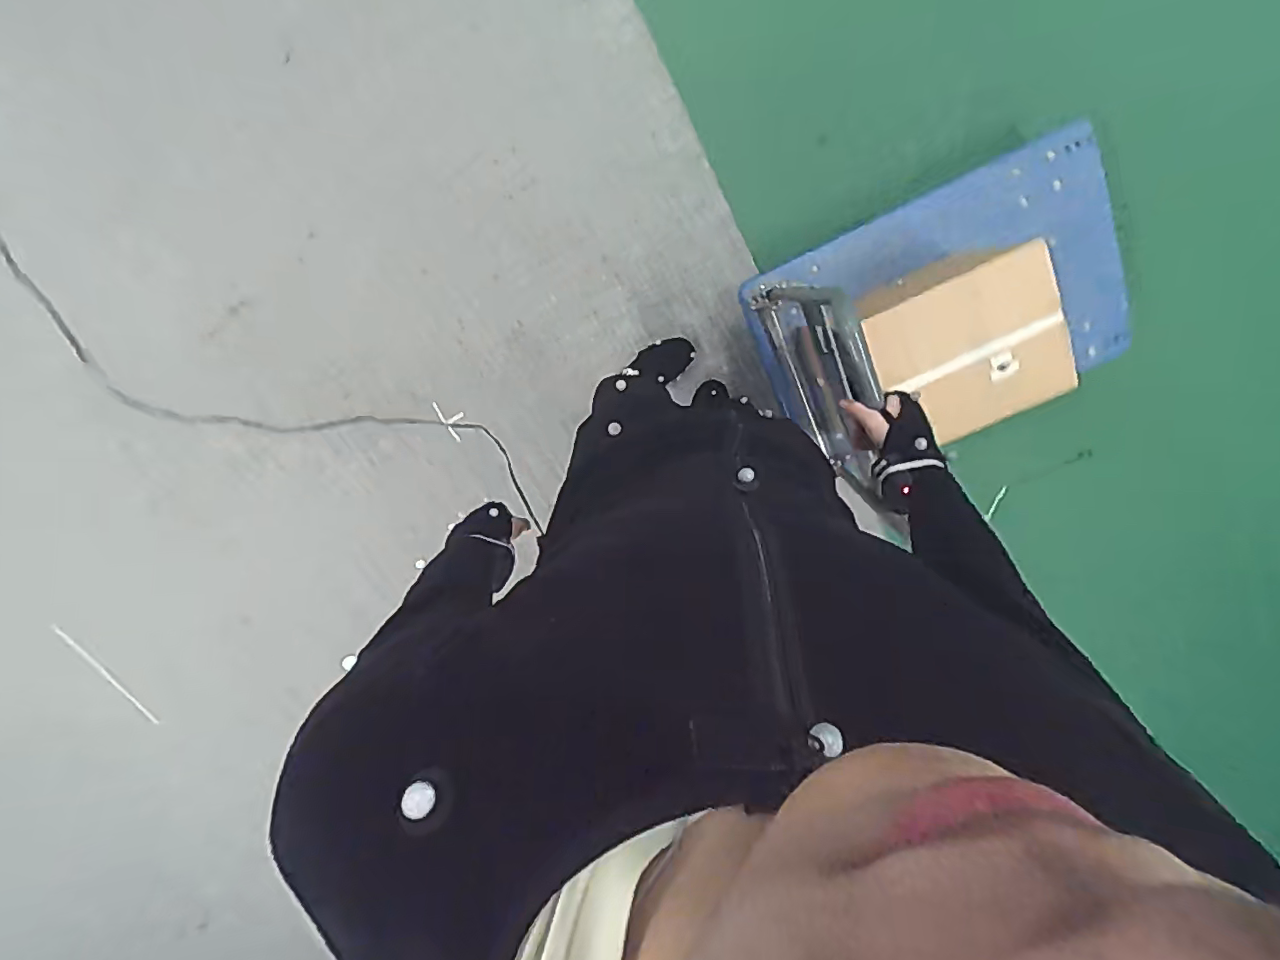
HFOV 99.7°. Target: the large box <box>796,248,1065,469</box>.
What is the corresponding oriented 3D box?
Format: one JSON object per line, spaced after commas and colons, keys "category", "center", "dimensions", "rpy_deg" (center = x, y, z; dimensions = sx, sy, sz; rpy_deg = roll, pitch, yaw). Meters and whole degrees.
{"category": "large box", "center": [0.633, -0.273, 1.237], "dimensions": [0.408, 0.320, 0.320], "rpy_deg": [-24, 106, 5]}
